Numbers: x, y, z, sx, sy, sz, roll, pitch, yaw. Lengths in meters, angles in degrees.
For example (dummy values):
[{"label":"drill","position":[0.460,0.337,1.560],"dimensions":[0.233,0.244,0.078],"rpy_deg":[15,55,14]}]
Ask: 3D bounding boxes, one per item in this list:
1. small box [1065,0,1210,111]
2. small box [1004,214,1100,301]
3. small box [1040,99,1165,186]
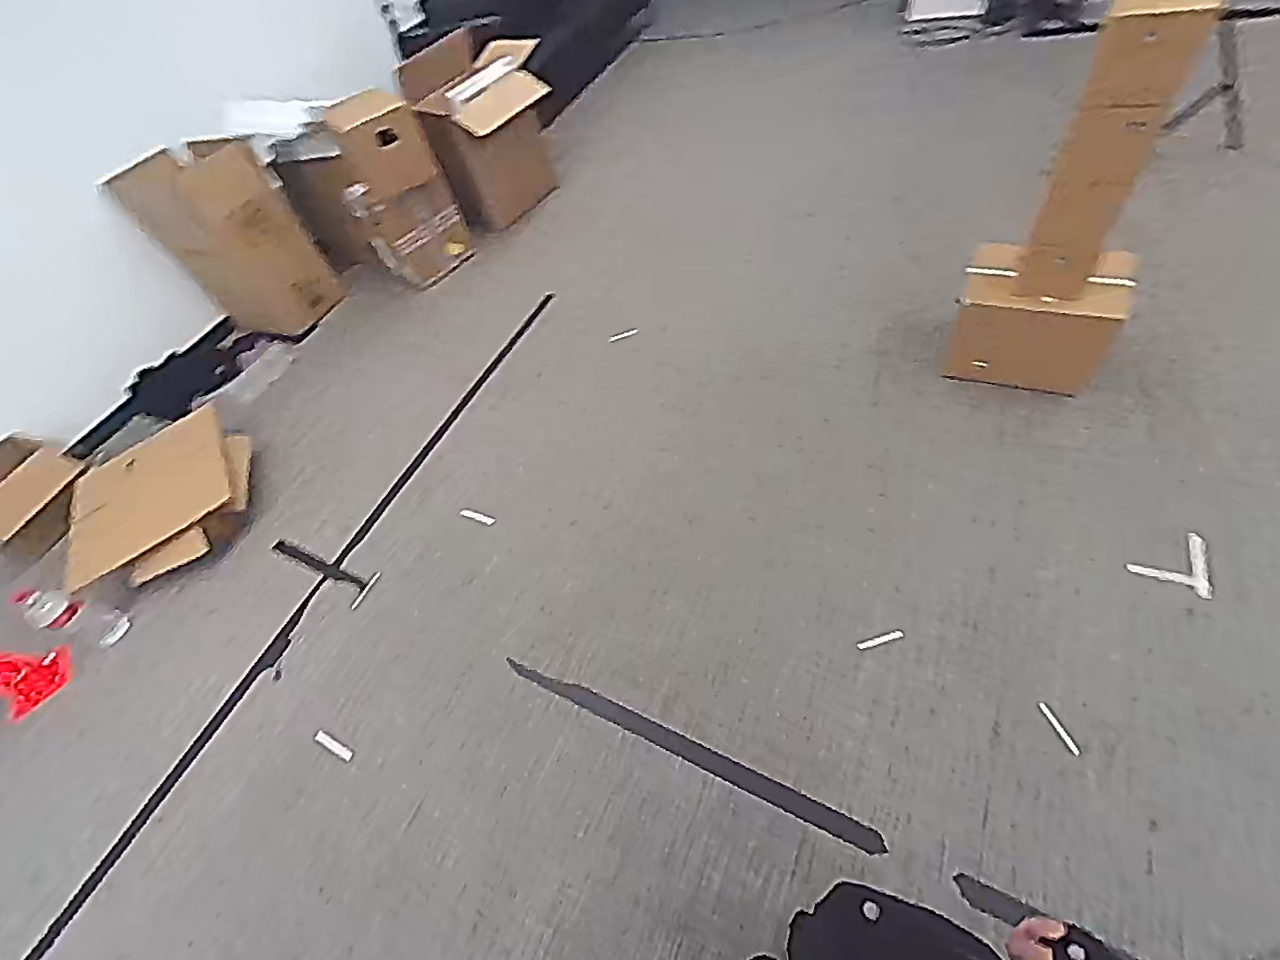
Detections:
[{"label":"small box","position":[1.059,-0.919,1.159],"dimensions":[0.179,0.176,0.168],"rpy_deg":[18,62,26]},{"label":"small box","position":[1.169,-0.634,1.543],"dimensions":[0.179,0.176,0.168],"rpy_deg":[15,61,23]},{"label":"small box","position":[1.095,-0.825,1.286],"dimensions":[0.179,0.176,0.168],"rpy_deg":[18,61,26]}]
